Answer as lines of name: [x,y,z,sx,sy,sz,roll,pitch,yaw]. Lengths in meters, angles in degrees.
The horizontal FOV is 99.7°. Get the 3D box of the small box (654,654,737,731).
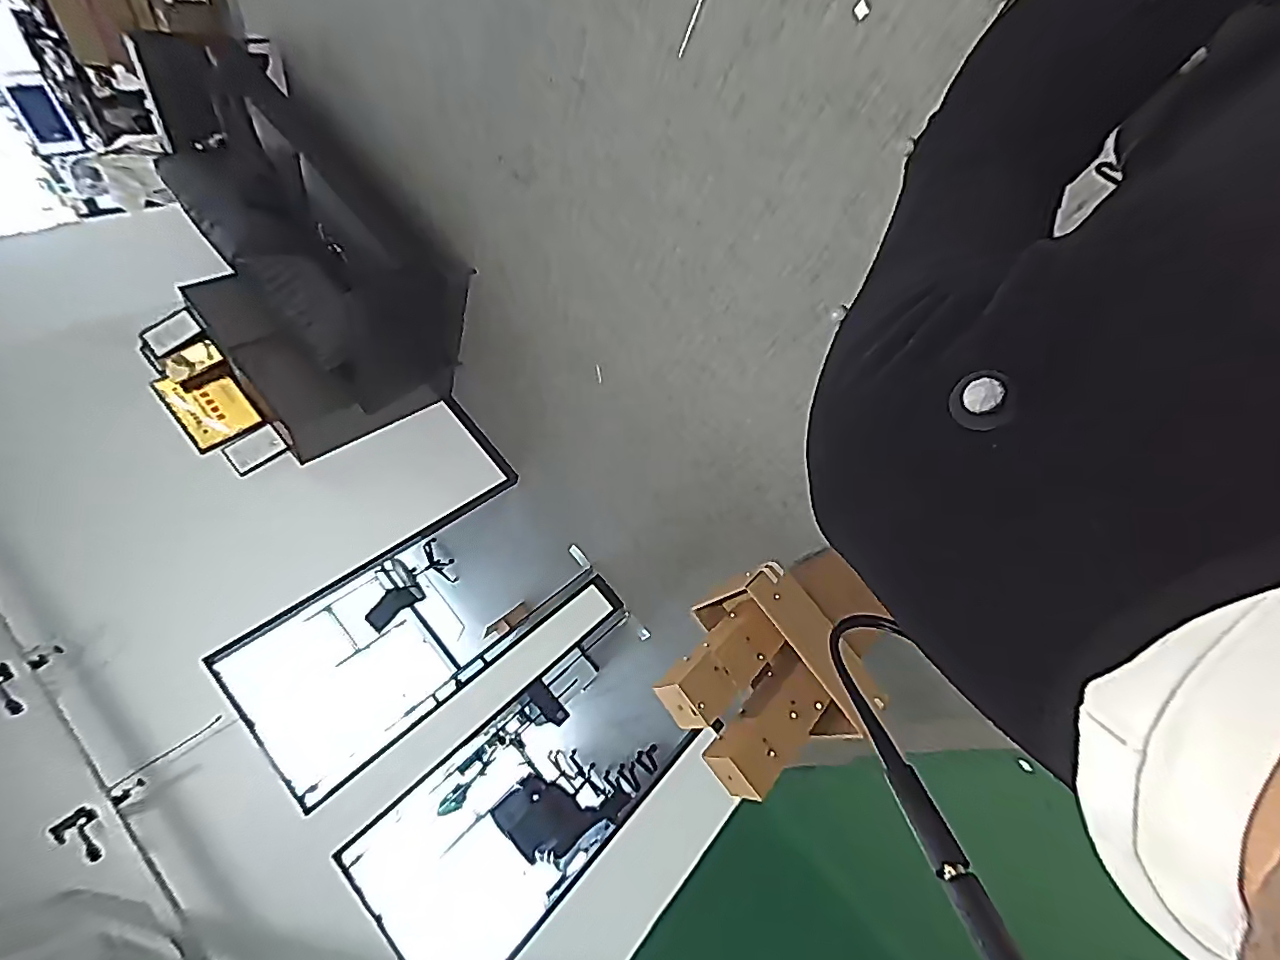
small box: [0.183,0.693,1.767,0.168,0.176,0.179,53,146,3]

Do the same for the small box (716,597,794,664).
small box: [0.416,0.546,1.946,0.168,0.176,0.179,53,145,4]

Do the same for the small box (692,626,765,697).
small box: [0.304,0.622,1.853,0.168,0.176,0.179,53,146,3]

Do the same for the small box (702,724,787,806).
small box: [0.342,0.916,1.757,0.168,0.176,0.179,52,146,4]

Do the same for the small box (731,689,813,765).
small box: [0.454,0.840,1.848,0.168,0.176,0.179,52,146,5]
